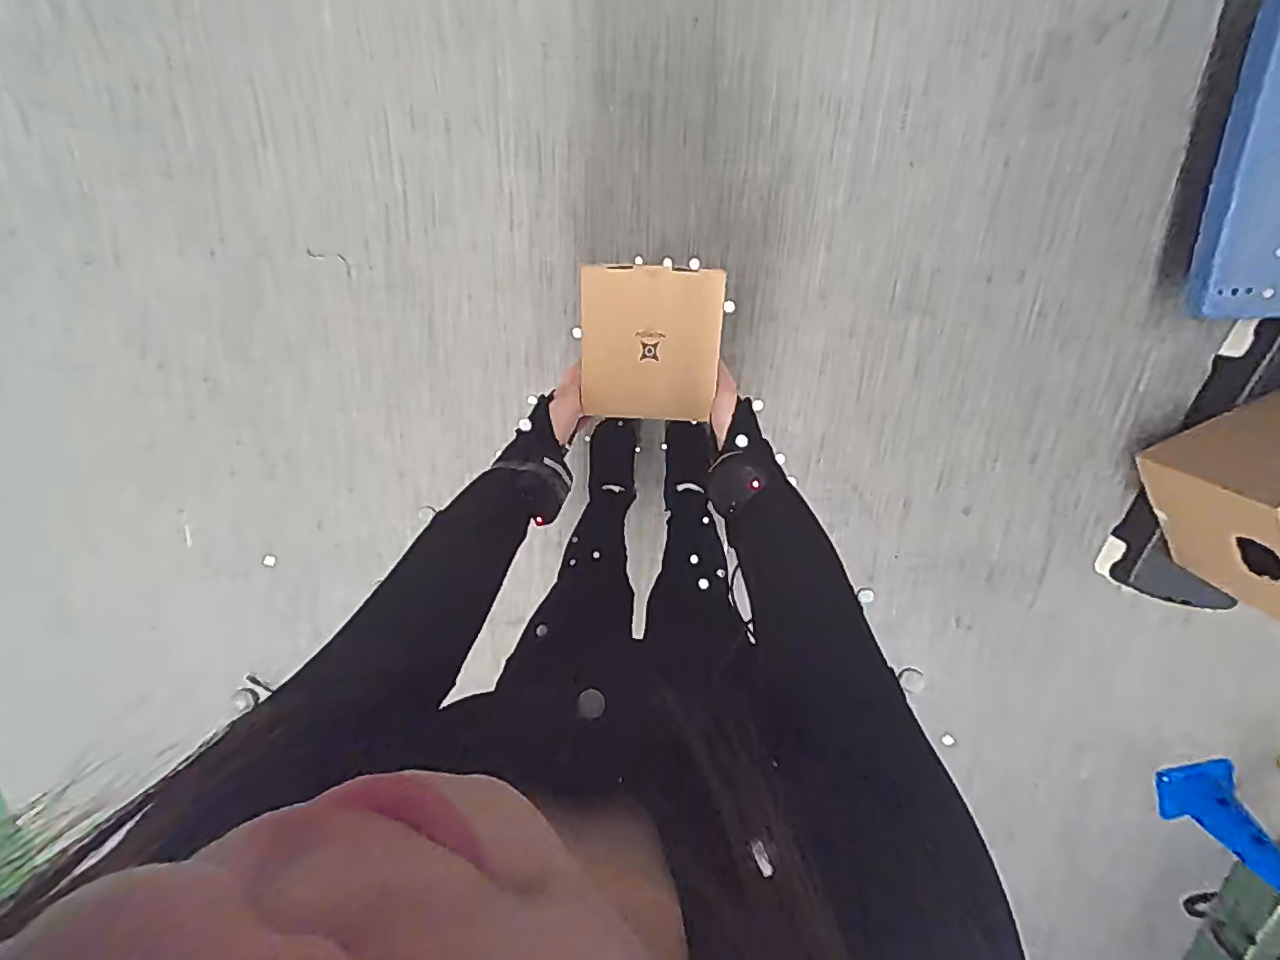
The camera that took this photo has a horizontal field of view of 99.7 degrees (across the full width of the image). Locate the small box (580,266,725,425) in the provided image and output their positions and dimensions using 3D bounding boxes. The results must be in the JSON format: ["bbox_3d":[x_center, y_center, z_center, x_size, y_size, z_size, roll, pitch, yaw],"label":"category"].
[{"bbox_3d":[0.017,-0.182,0.708,0.168,0.176,0.179,3,110,3],"label":"small box"}]
